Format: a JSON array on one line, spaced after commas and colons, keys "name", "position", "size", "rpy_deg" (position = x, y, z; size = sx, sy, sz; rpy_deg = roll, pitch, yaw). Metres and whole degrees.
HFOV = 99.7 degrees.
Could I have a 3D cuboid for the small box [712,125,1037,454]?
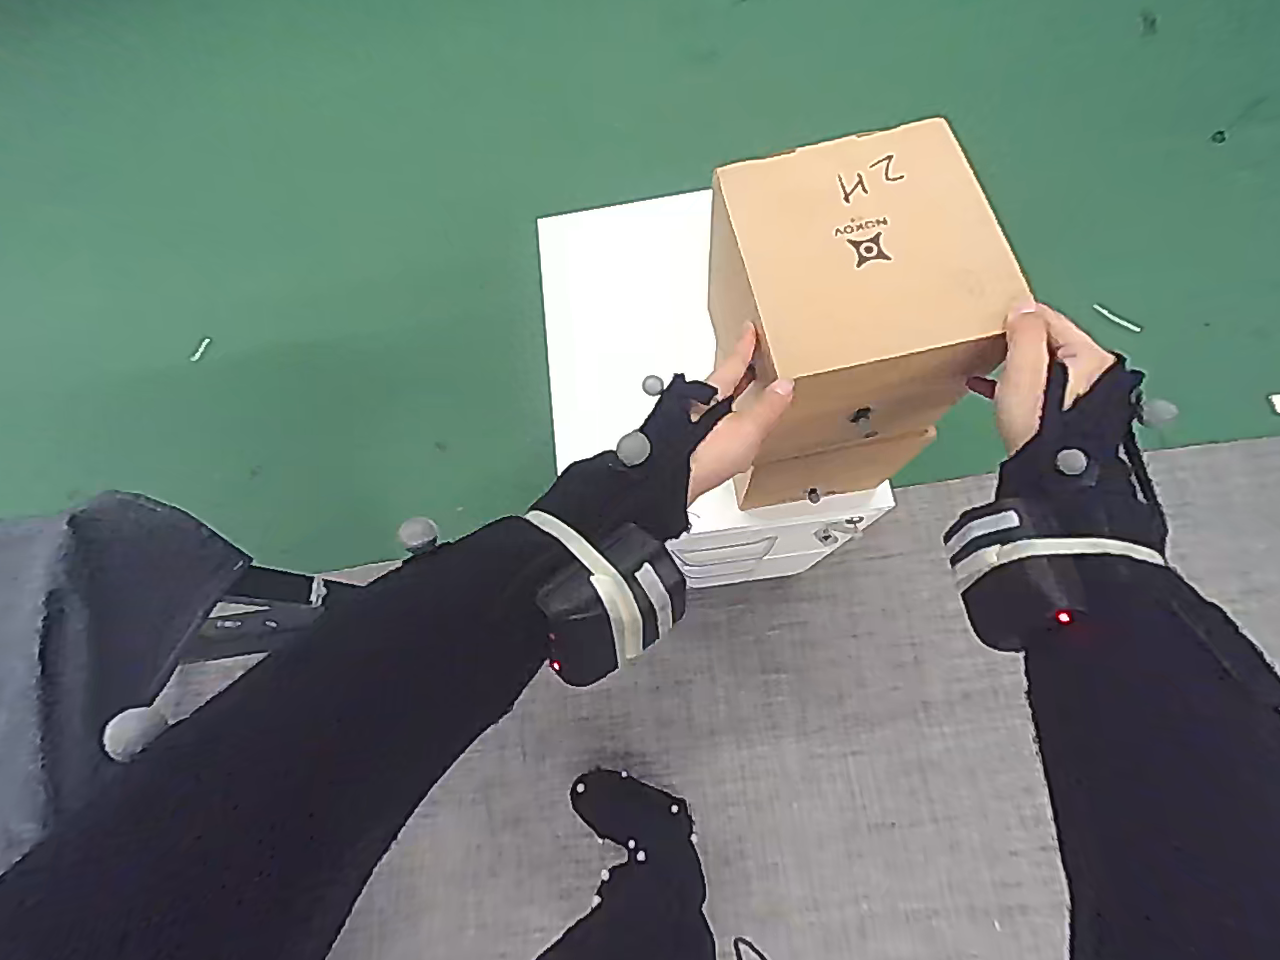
[{"name": "small box", "position": [0.157, -0.131, 0.433], "size": [0.168, 0.176, 0.179], "rpy_deg": [-11, 72, 1]}]
